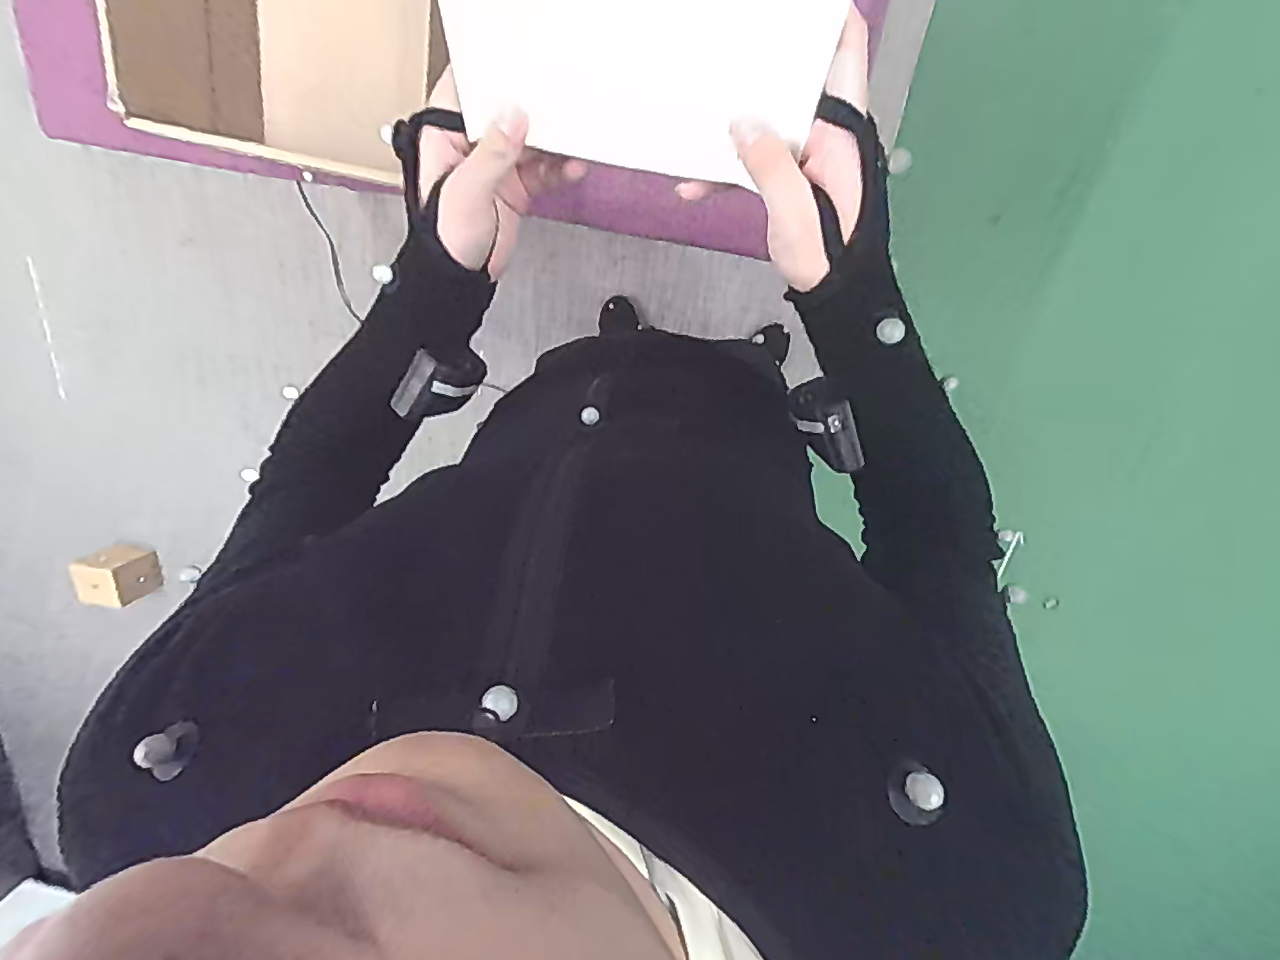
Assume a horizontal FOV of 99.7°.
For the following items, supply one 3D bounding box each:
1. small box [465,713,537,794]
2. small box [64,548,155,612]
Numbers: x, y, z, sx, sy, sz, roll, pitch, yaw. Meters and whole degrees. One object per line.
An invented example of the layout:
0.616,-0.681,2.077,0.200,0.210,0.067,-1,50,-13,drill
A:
-0.515,1.023,2.031,0.168,0.176,0.179,42,110,-7,small box
-1.970,0.369,2.025,0.179,0.176,0.168,8,110,6,small box
